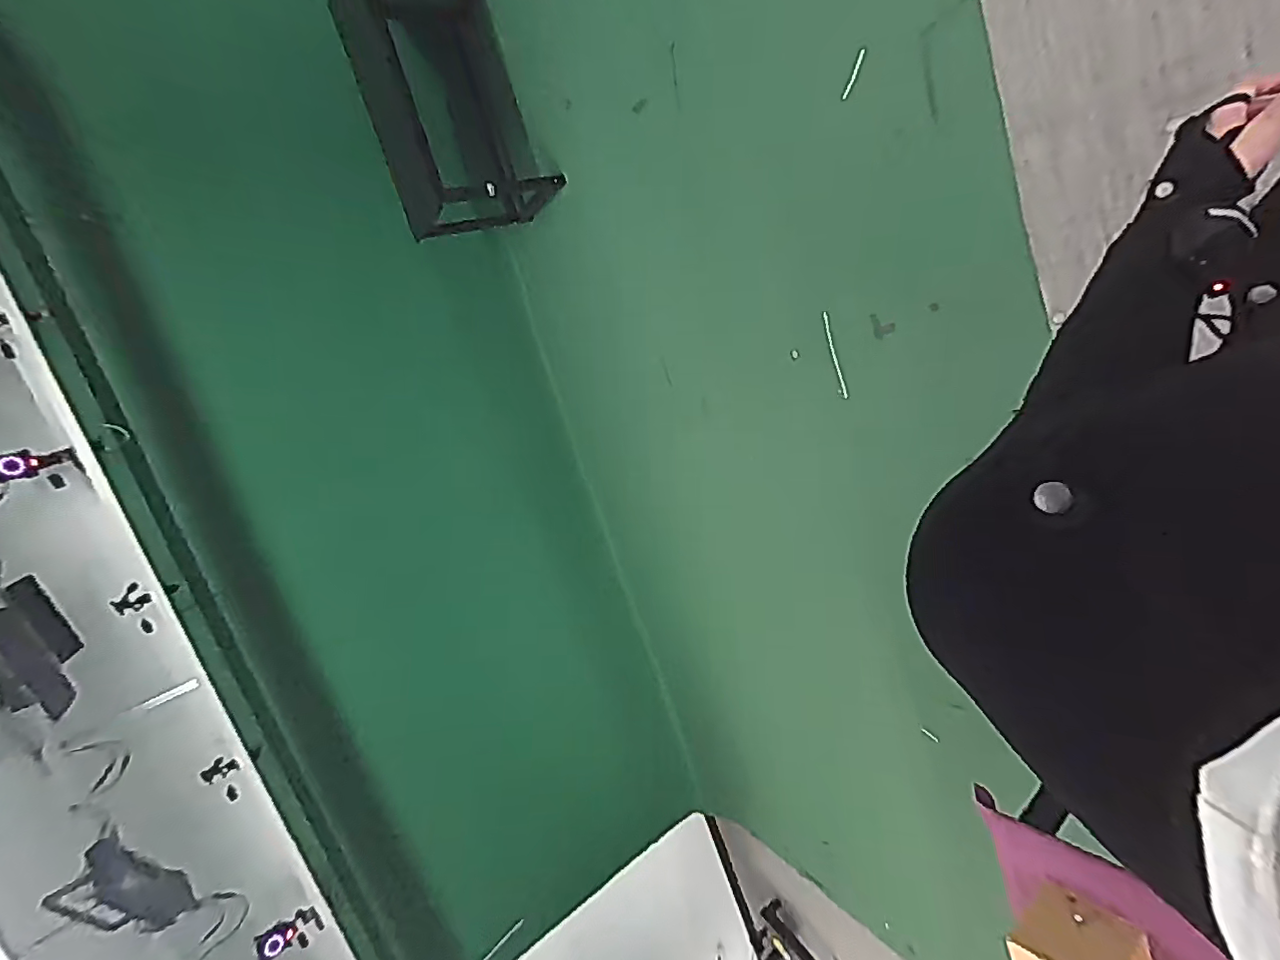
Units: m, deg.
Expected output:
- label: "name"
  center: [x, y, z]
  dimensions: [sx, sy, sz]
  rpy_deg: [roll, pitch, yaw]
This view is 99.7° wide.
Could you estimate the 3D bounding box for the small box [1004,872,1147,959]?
- label: "small box"
  center: [0.842, 0.919, 1.035]
  dimensions: [0.168, 0.176, 0.179]
  rpy_deg: [-5, 108, 59]
